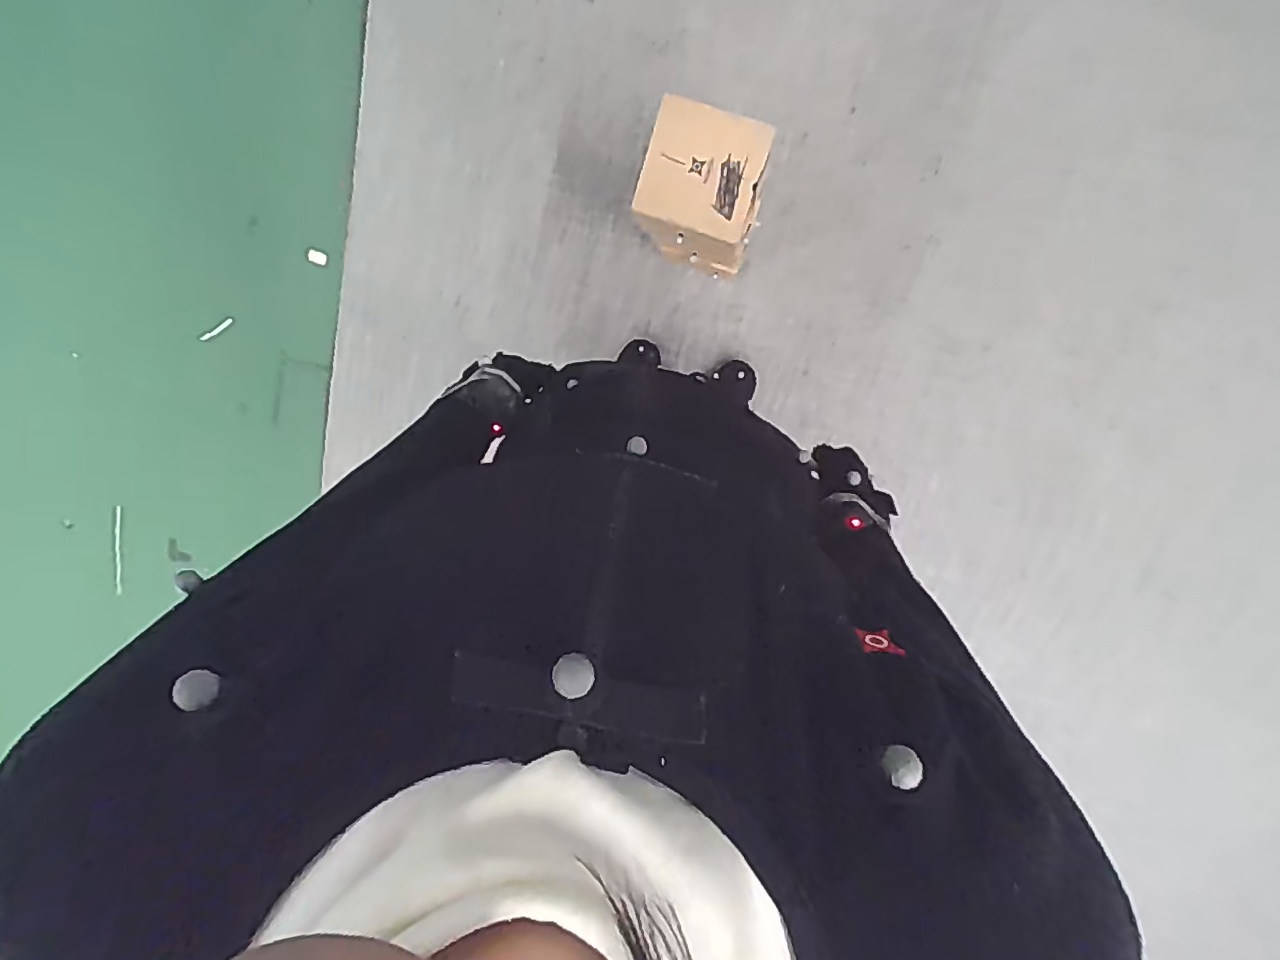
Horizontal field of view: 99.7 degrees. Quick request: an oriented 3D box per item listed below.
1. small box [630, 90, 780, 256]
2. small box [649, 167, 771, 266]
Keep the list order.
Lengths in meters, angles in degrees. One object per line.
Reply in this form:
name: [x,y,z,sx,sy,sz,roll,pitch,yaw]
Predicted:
small box: [0.103,-0.479,0.877,0.179,0.176,0.168,23,105,1]
small box: [0.132,-0.522,1.037,0.179,0.176,0.168,20,106,2]
